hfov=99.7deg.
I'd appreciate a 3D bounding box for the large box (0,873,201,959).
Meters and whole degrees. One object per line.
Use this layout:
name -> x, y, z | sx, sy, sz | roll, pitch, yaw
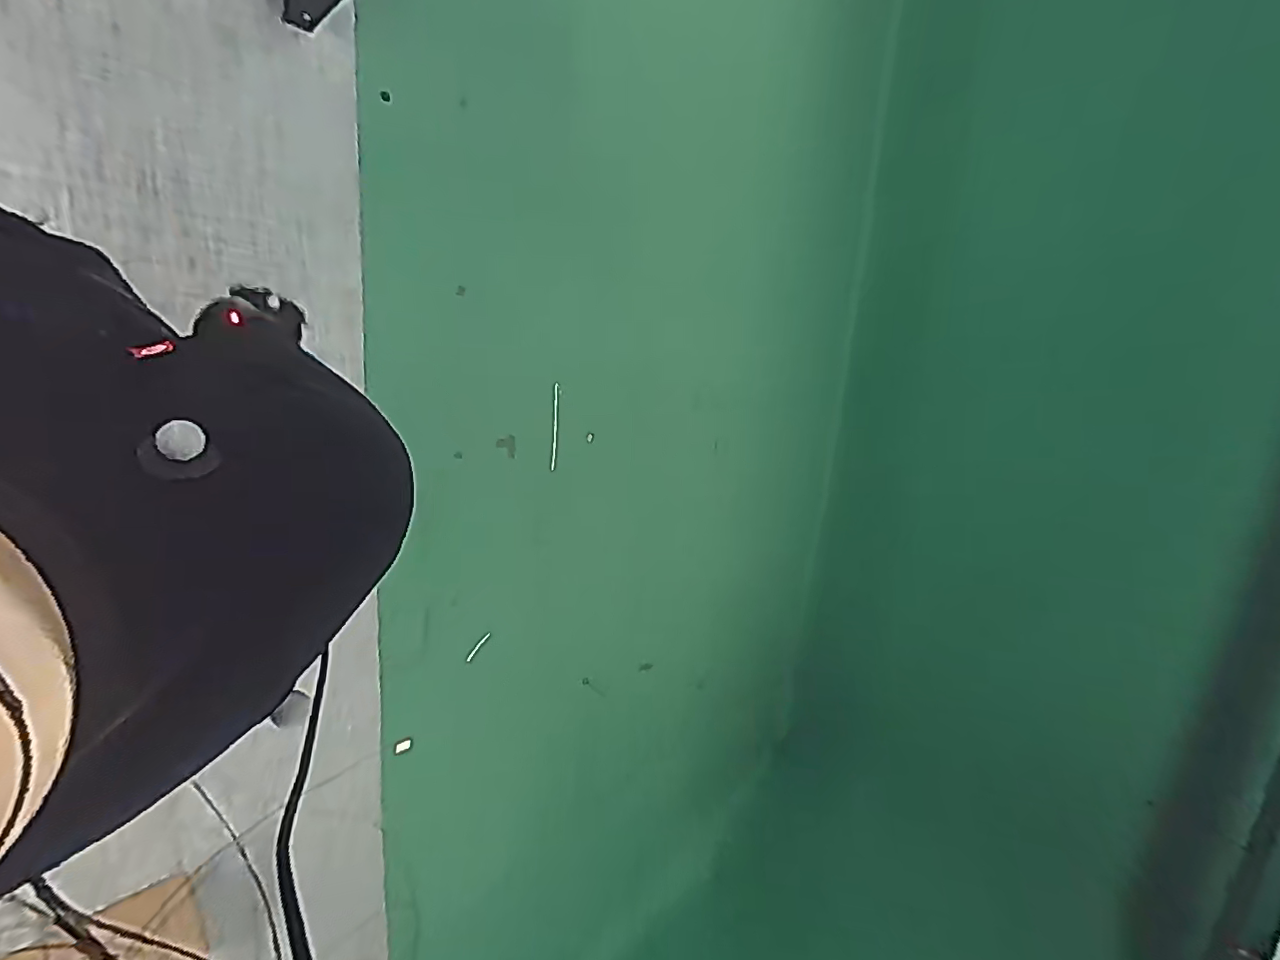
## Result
large box -> -1.205, 1.169, 1.138 | 0.408, 0.320, 0.320 | -9, 108, -50
